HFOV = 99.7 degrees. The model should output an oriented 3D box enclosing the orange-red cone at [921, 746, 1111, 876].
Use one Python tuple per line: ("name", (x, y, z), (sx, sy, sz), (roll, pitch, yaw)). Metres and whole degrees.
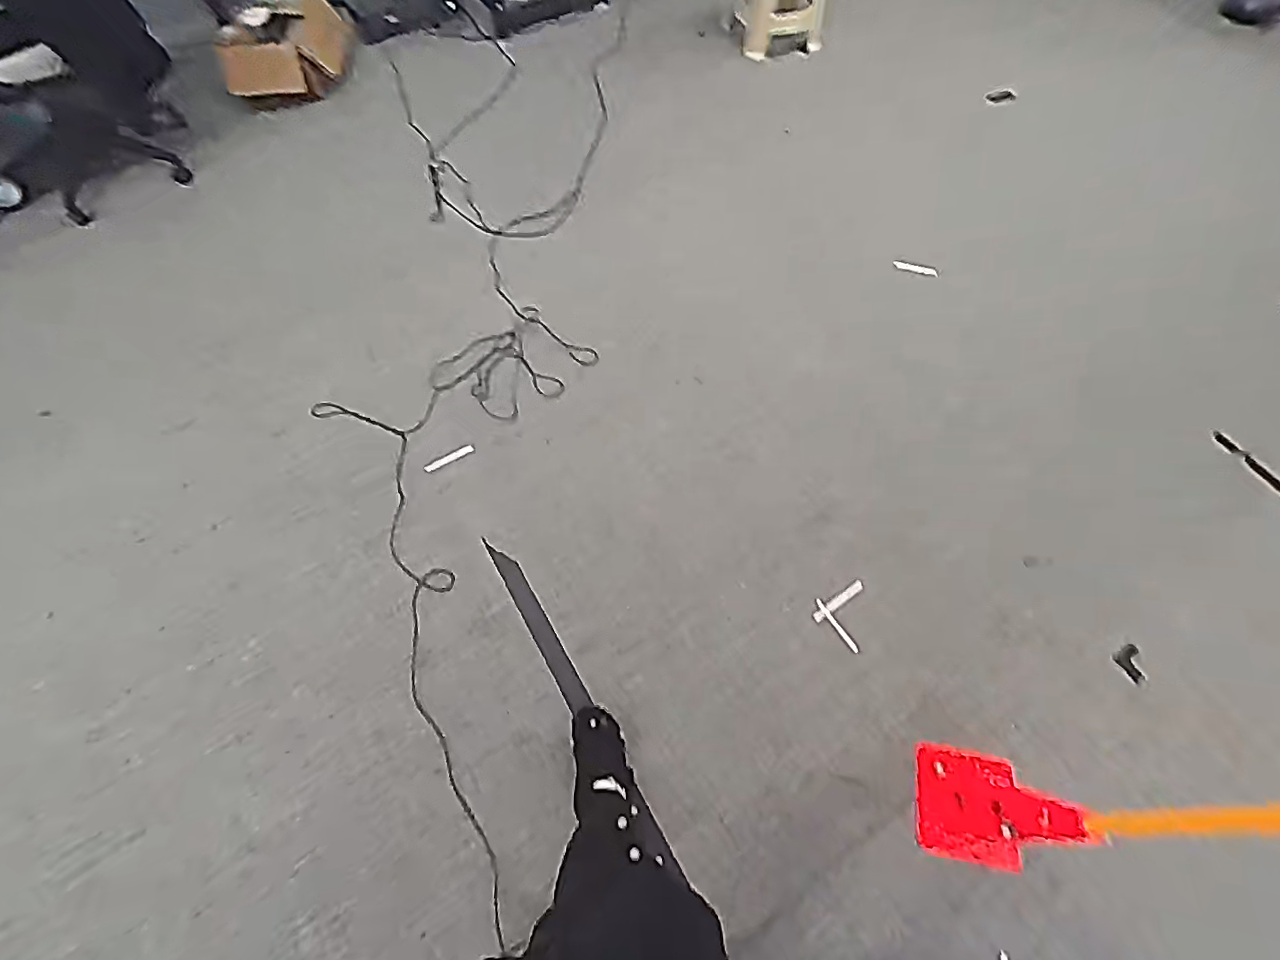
("orange-red cone", (0.668, 0.588, 0.939), (0.198, 0.360, 0.199), (12, 65, 7))
